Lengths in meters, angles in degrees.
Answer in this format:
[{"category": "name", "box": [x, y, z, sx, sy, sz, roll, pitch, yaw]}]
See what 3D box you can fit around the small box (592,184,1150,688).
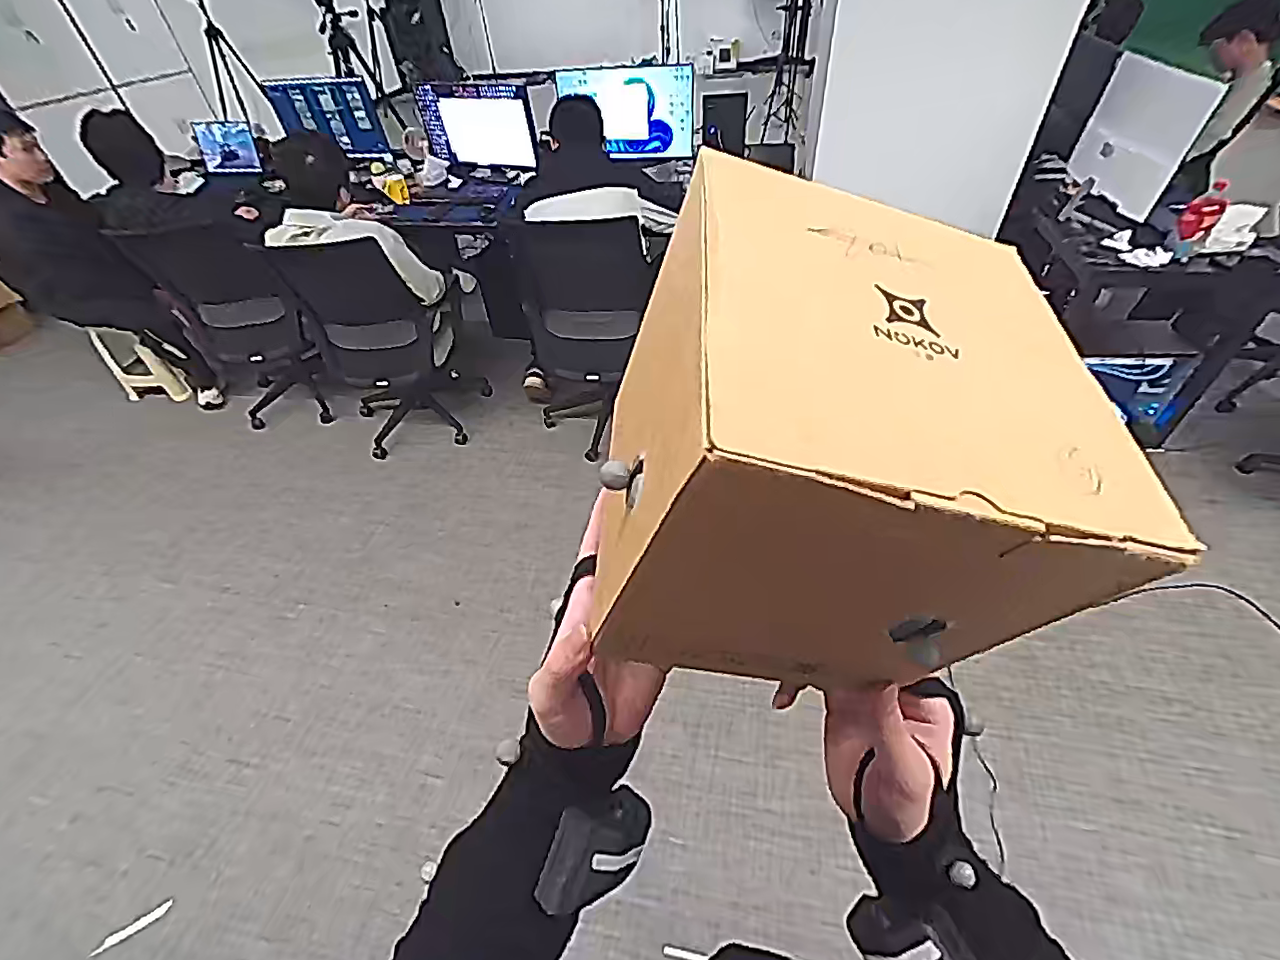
[{"category": "small box", "box": [0.075, -0.007, 0.277, 0.168, 0.176, 0.179, 12, 52, -11]}]
